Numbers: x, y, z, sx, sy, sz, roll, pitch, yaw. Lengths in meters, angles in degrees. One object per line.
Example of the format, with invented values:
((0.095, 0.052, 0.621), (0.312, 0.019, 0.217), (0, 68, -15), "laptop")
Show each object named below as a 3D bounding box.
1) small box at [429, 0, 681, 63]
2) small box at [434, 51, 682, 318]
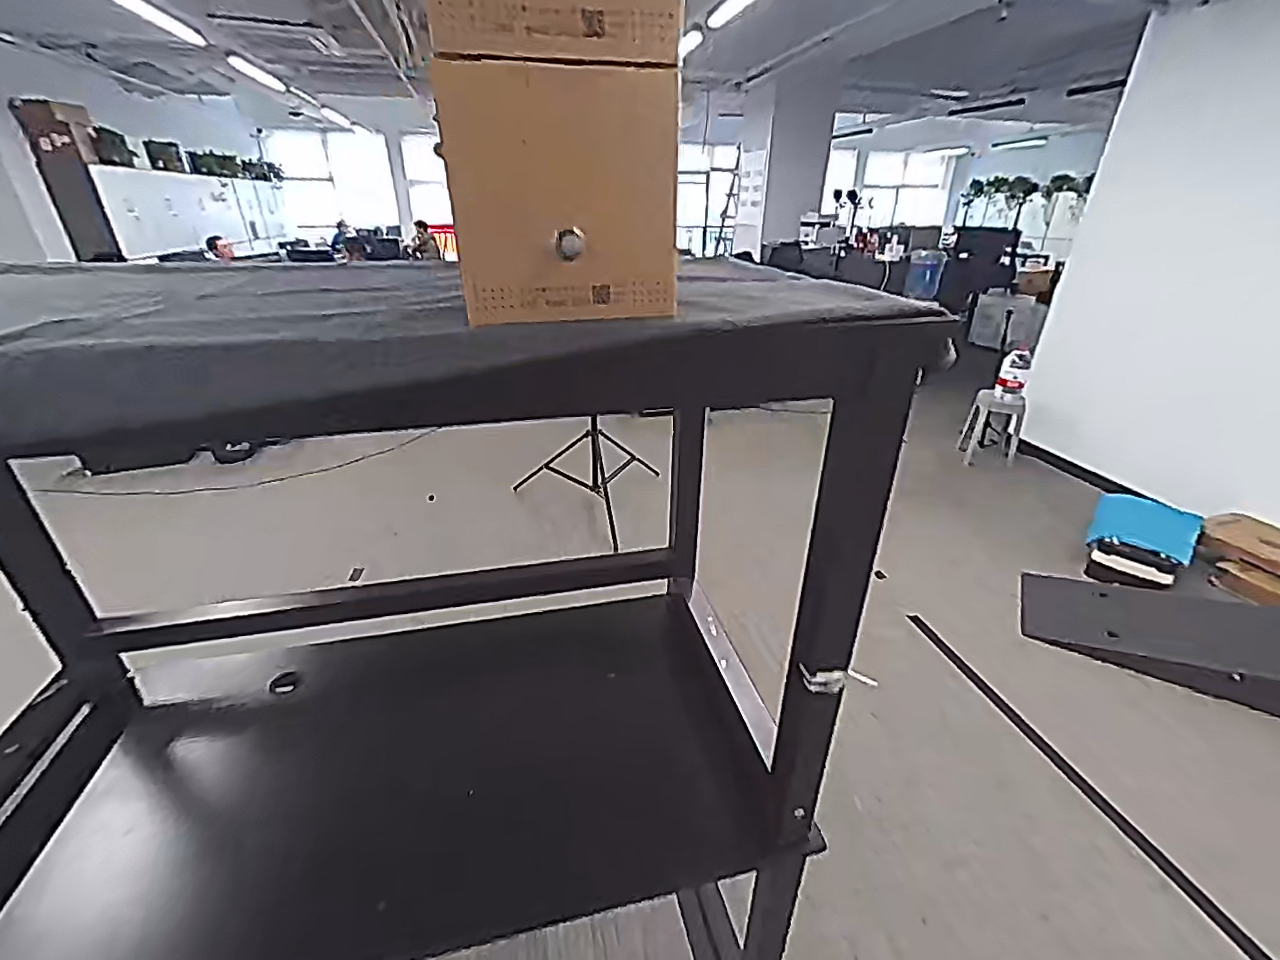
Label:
((-0.066, -0.384, 0.391), (0.168, 0.176, 0.179), (-5, 27, -10), "small box")
((-0.067, -0.236, 0.462), (0.168, 0.176, 0.179), (-7, 27, -10), "small box")
